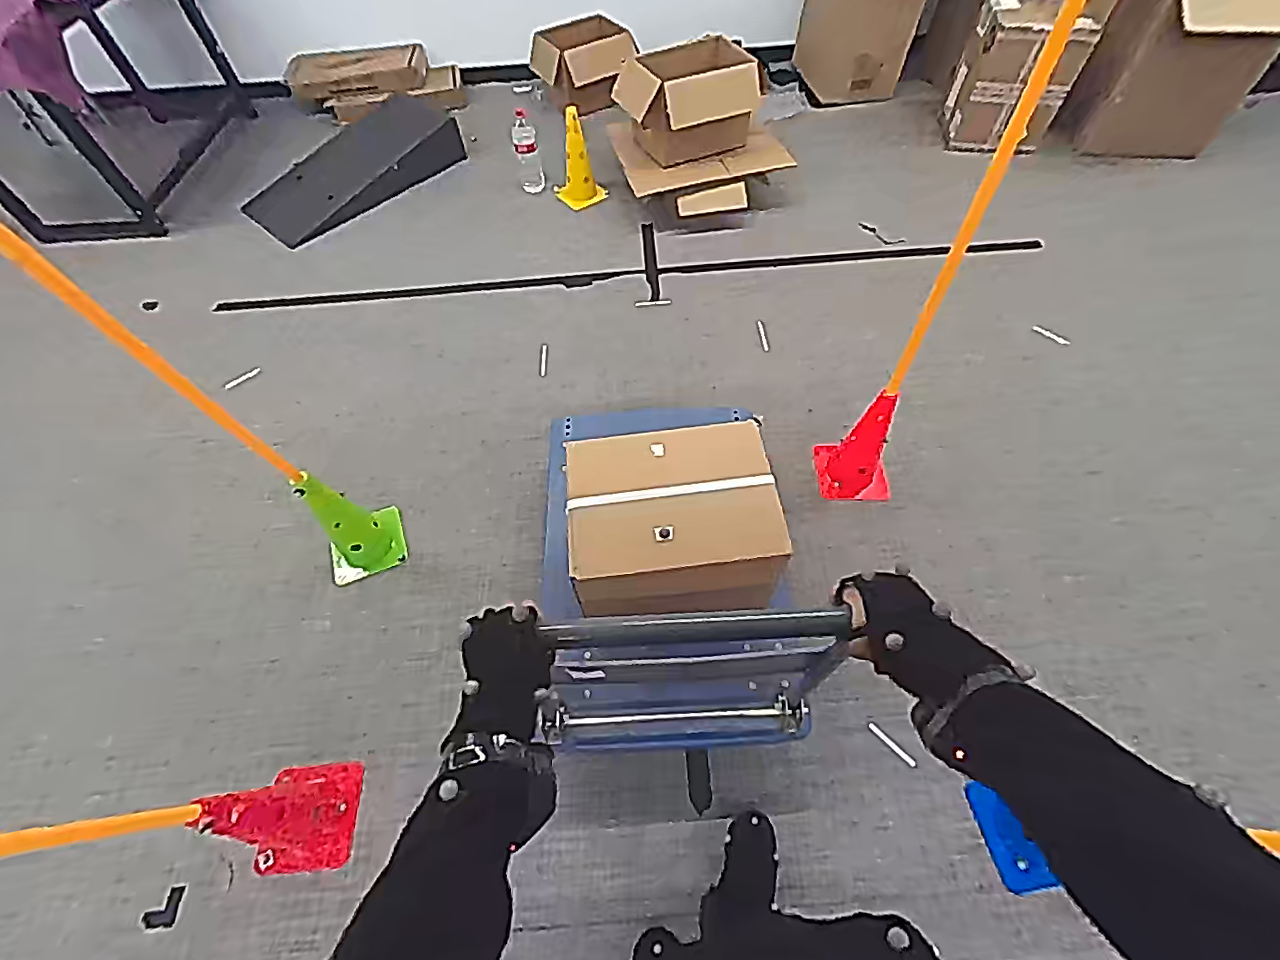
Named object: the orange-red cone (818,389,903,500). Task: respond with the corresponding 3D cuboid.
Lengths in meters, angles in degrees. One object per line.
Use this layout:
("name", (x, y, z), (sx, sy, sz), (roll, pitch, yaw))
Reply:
("orange-red cone", (0.640, -0.119, 1.487), (0.199, 0.360, 0.198), (2, 58, 3))

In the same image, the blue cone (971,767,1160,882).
("blue cone", (0.819, 0.635, 1.008), (0.193, 0.380, 0.192), (-7, 56, -3))
